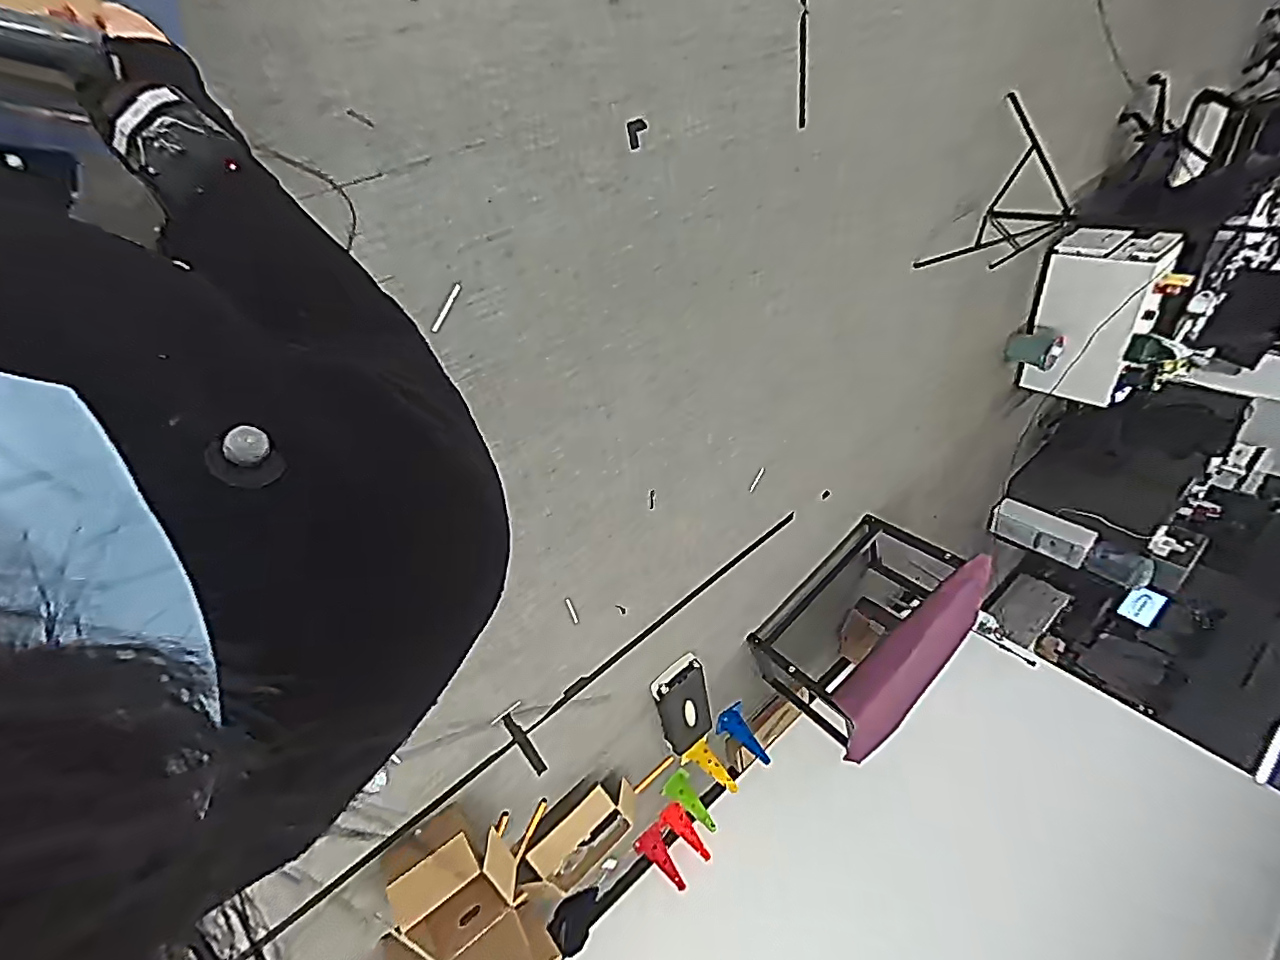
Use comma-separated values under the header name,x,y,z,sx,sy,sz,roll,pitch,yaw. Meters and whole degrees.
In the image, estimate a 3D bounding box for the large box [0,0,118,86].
name,x,y,z,sx,sy,sz,roll,pitch,yaw
large box,-0.854,-0.658,0.558,0.408,0.320,0.320,-12,121,-38
